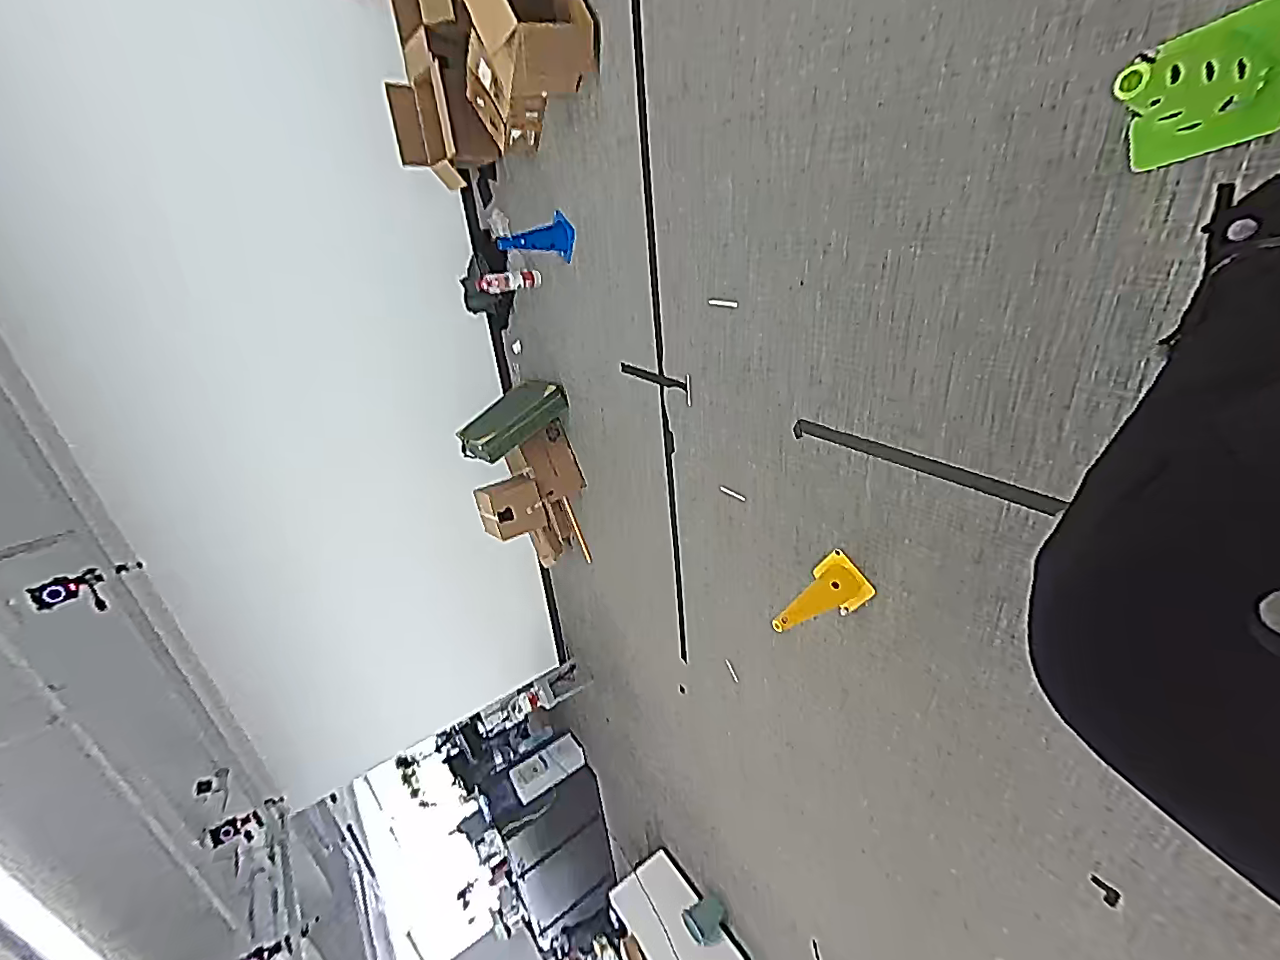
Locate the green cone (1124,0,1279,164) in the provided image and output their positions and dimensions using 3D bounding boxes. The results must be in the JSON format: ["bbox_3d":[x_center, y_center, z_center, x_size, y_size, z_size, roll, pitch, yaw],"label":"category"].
[{"bbox_3d":[0.829,-0.619,0.836,0.202,0.368,0.200,7,116,56],"label":"green cone"}]
